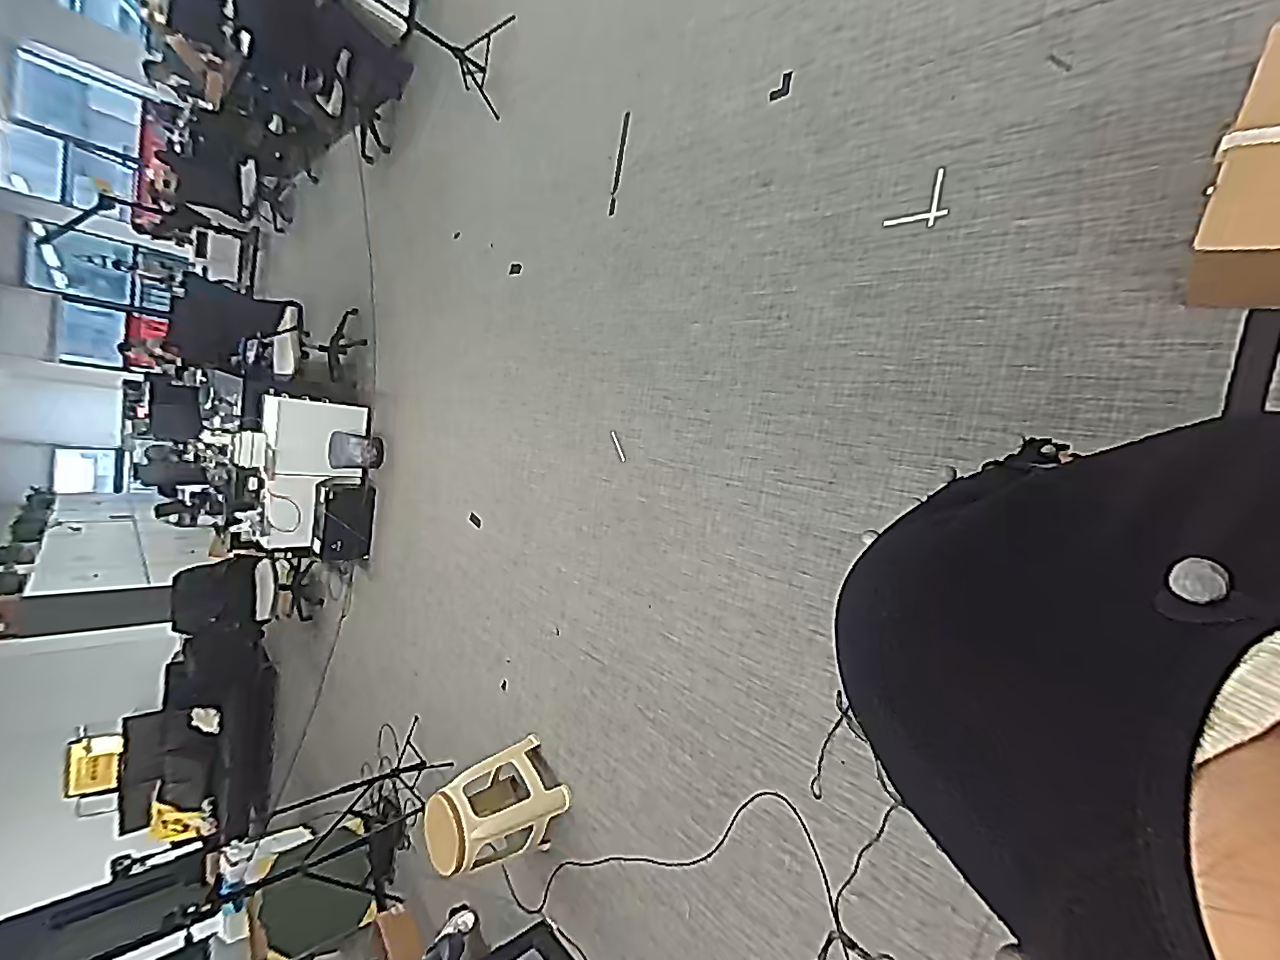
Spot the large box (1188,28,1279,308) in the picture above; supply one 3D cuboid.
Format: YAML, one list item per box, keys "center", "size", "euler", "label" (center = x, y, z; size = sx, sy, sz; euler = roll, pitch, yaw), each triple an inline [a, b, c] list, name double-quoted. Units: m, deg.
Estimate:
- center: [1.094, -0.433, 0.756]
  size: [0.408, 0.320, 0.320]
  euler: [20, 102, 42]
  label: "large box"
